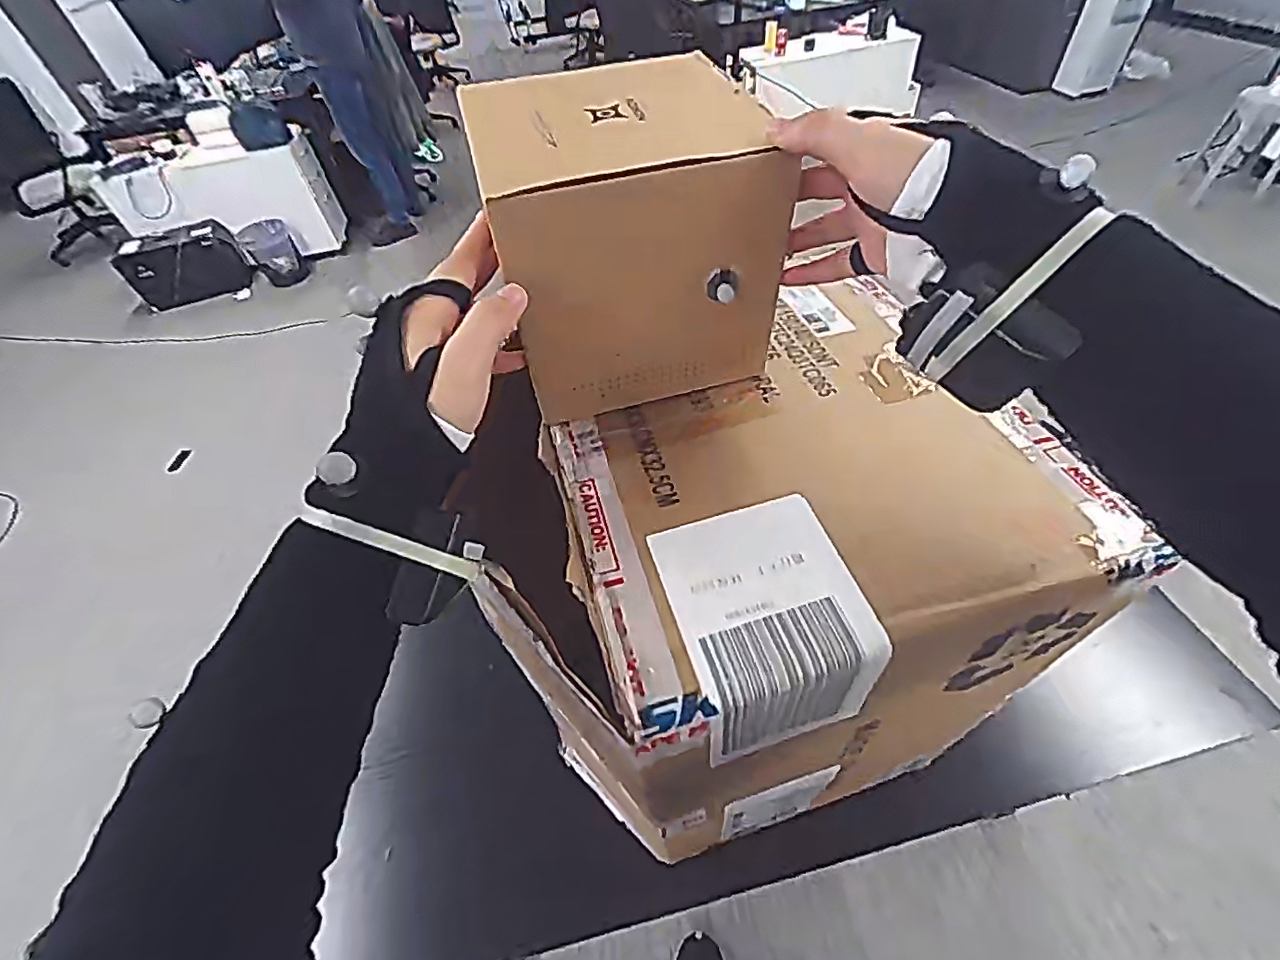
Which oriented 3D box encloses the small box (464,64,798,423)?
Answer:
[{"bbox_3d":[-0.013,-0.169,0.397,0.179,0.176,0.168,-15,53,-8],"label":"small box"}]
